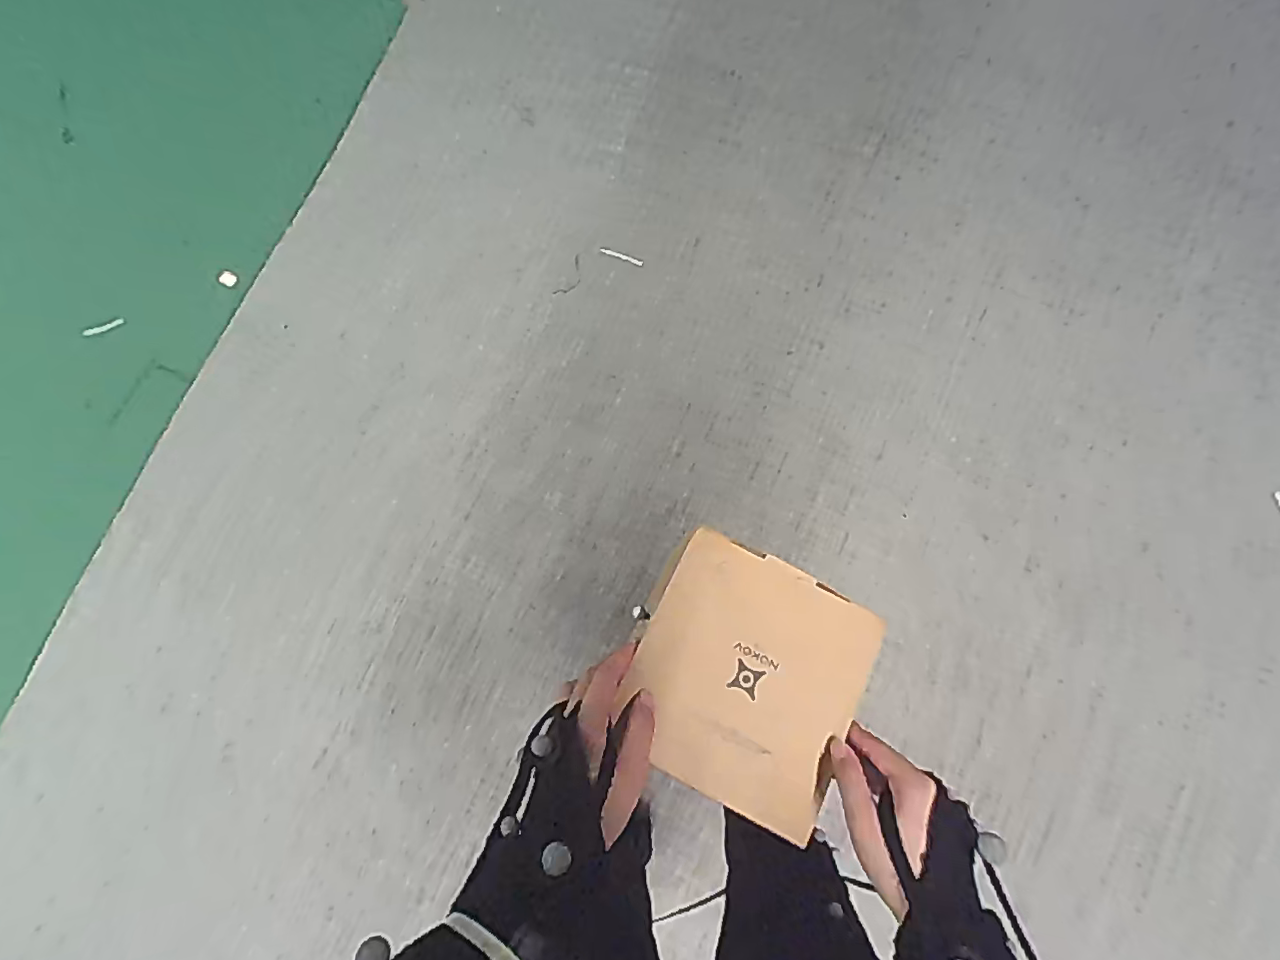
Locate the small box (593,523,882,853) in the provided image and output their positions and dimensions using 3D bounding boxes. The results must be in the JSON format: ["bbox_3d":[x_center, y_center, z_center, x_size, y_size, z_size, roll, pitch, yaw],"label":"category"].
[{"bbox_3d":[0.069,0.162,0.466,0.168,0.176,0.179,26,75,4],"label":"small box"}]
